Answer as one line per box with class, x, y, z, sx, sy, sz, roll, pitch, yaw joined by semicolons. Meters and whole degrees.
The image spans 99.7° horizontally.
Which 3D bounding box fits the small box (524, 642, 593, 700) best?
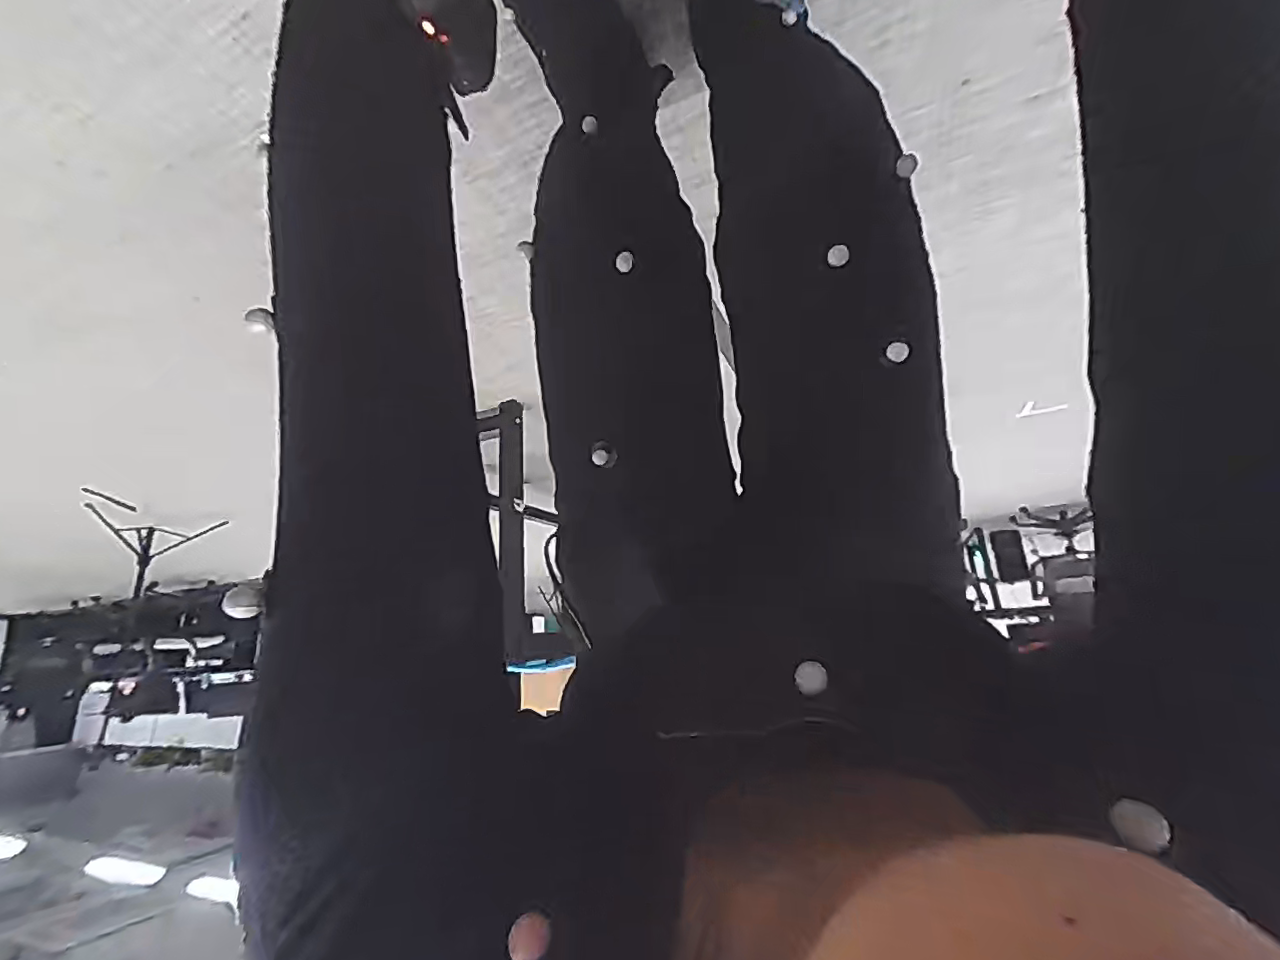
small box;-0.271;0.636;1.817;0.168;0.176;0.179;-11;163;24
